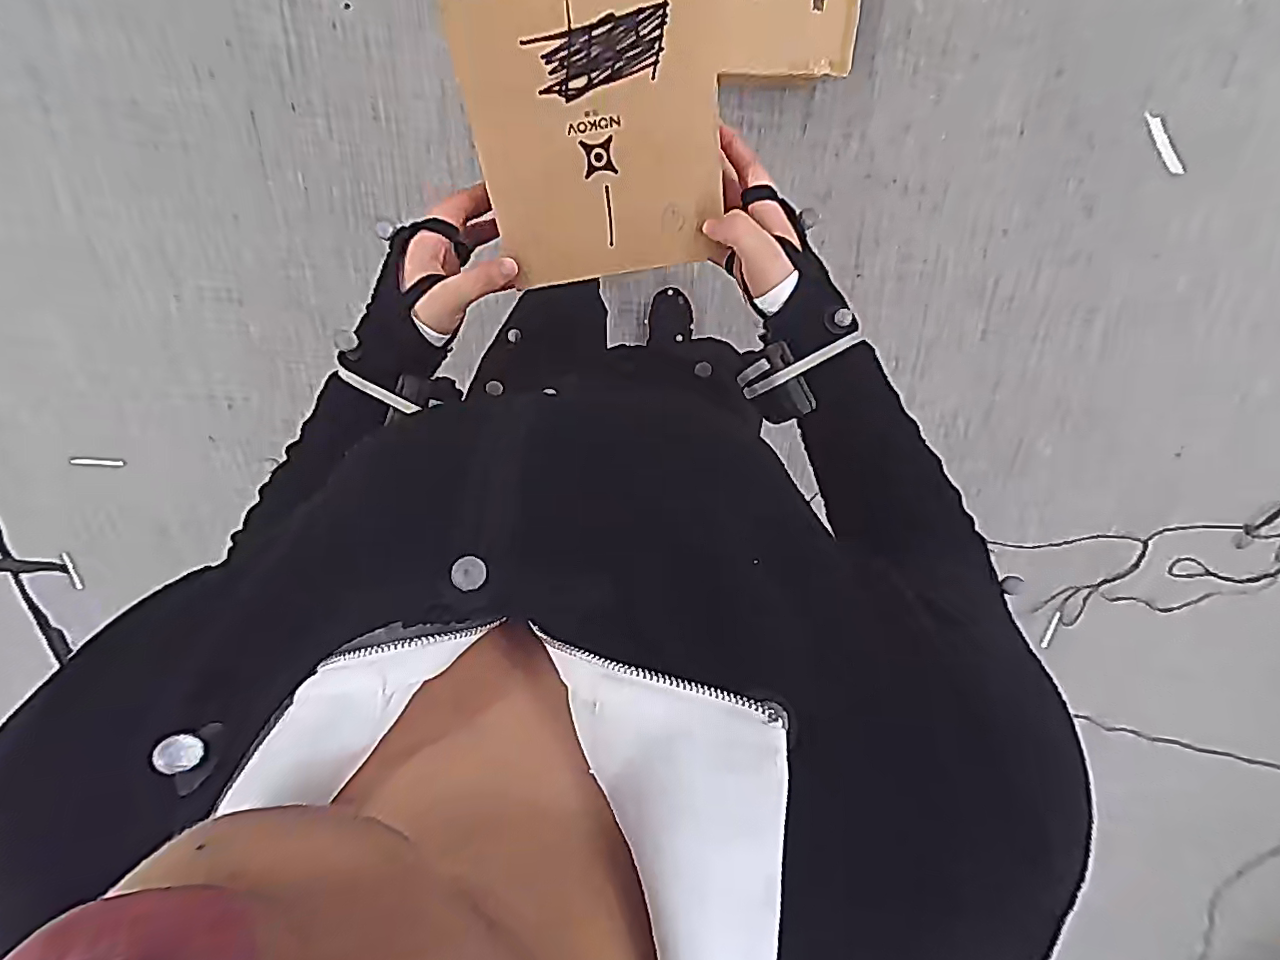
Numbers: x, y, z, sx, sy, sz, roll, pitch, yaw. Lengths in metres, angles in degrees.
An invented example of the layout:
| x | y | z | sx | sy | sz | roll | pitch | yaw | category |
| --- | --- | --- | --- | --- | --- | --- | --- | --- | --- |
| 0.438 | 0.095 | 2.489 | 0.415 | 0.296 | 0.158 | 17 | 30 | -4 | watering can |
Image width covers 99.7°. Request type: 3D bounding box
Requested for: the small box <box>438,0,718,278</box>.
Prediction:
| x | y | z | sx | sy | sz | roll | pitch | yaw | category |
| --- | --- | --- | --- | --- | --- | --- | --- | --- | --- |
| -0.035 | -0.283 | 0.433 | 0.168 | 0.176 | 0.179 | -8 | 126 | 4 | small box |
